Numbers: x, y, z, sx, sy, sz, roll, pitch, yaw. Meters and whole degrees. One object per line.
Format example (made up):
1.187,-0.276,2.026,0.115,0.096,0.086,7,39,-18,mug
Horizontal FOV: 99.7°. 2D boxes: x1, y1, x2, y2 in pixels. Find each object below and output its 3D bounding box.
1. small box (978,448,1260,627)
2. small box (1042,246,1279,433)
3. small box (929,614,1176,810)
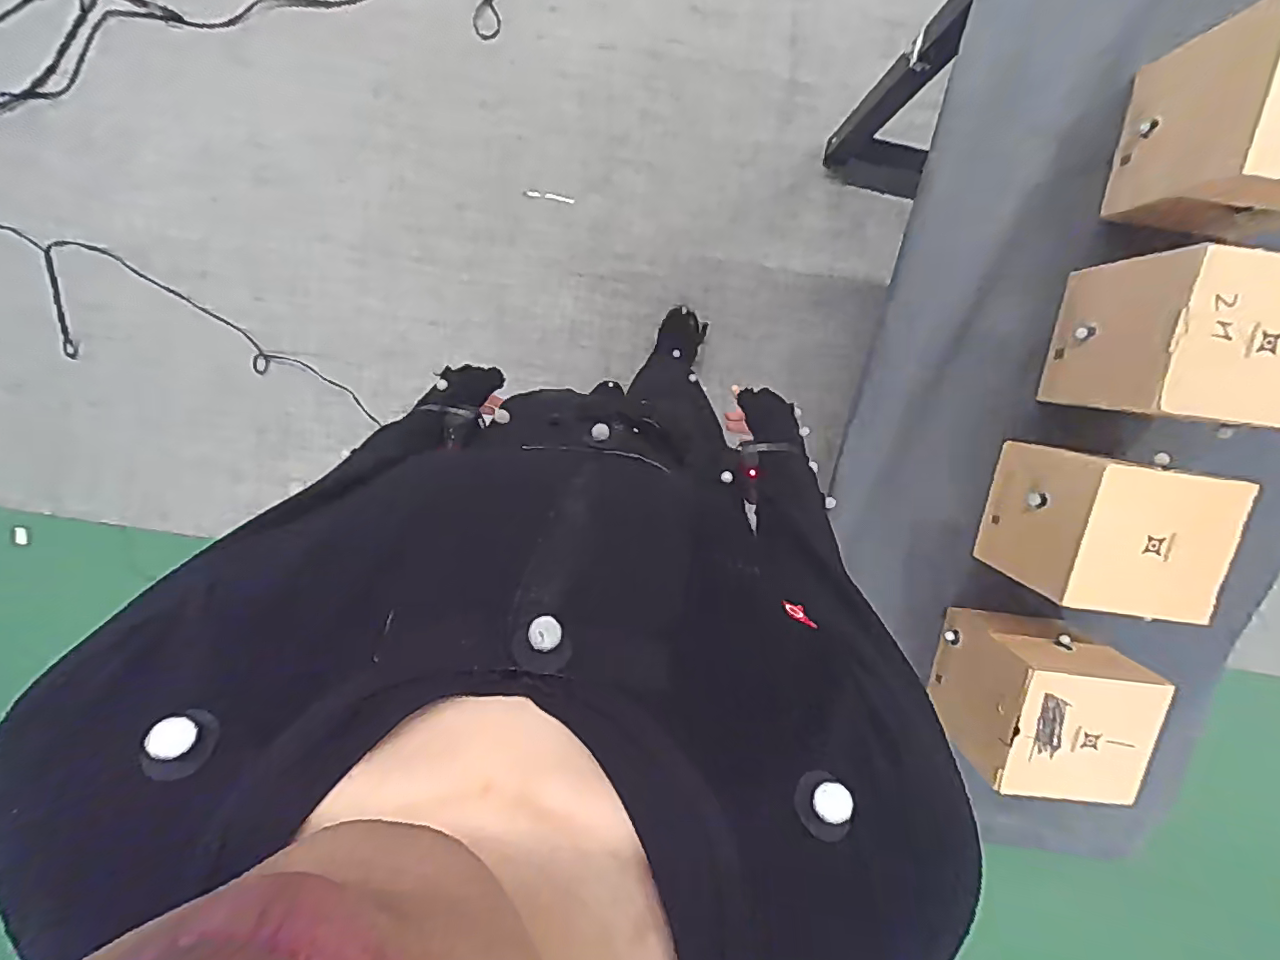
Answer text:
0.560,0.058,0.663,0.179,0.176,0.168,7,102,-3,small box
0.620,-0.153,0.617,0.179,0.176,0.168,7,102,-2,small box
0.517,0.291,0.709,0.179,0.176,0.168,7,102,-3,small box
